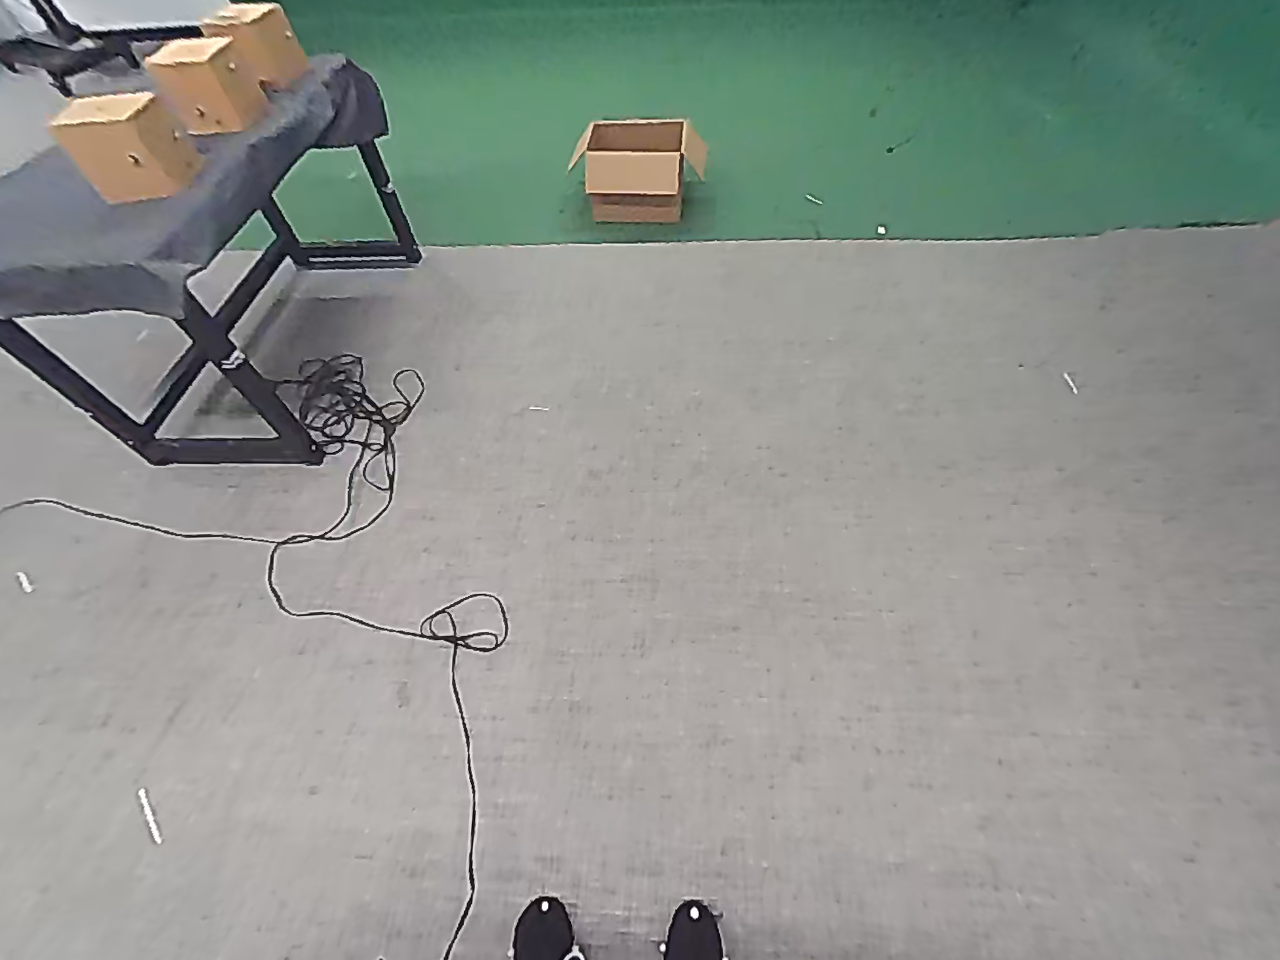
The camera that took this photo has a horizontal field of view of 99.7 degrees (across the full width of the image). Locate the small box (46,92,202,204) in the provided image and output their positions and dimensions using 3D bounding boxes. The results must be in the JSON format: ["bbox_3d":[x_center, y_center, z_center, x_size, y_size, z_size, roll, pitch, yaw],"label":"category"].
[{"bbox_3d":[-1.192,-0.776,1.269,0.179,0.176,0.168,-9,53,-2],"label":"small box"}]

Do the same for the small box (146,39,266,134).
[{"bbox_3d":[-1.178,-1.081,1.488,0.168,0.176,0.179,-2,55,2],"label":"small box"}]
